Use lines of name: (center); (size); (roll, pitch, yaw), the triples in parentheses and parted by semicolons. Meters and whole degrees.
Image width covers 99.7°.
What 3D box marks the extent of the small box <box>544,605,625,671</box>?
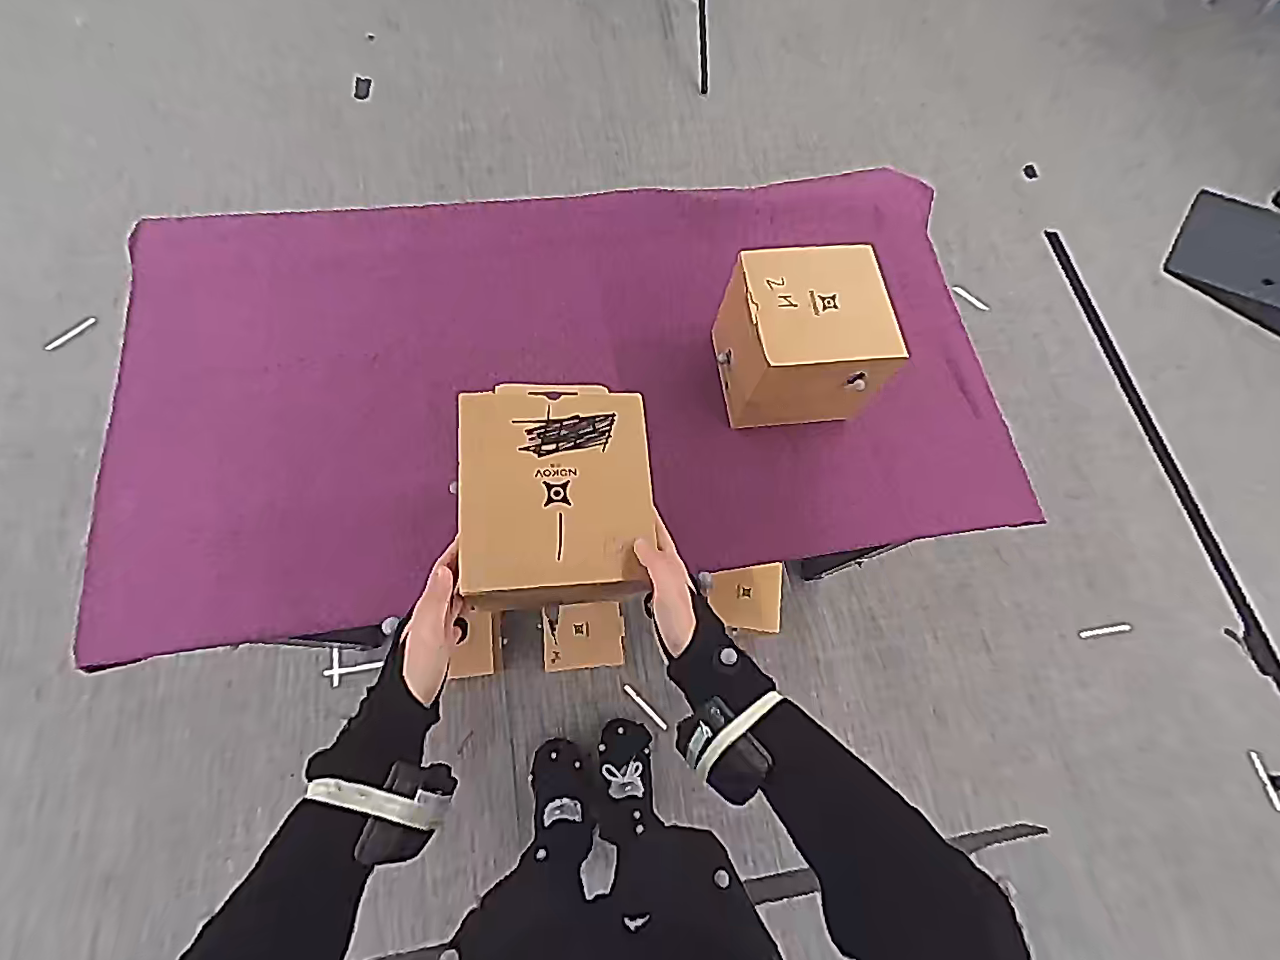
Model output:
small box: (-0.132, 0.357, 1.277); (0.179, 0.176, 0.168); (-3, 72, -6)

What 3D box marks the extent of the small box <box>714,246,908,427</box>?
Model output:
small box: (0.211, -0.182, 0.717); (0.179, 0.176, 0.168); (-6, 71, -6)

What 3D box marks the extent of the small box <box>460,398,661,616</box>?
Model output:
small box: (-0.083, 0.034, 0.536); (0.168, 0.176, 0.179); (-2, 73, -11)

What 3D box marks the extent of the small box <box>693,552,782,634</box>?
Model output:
small box: (0.237, 0.285, 1.334); (0.179, 0.176, 0.168); (8, 71, -1)
